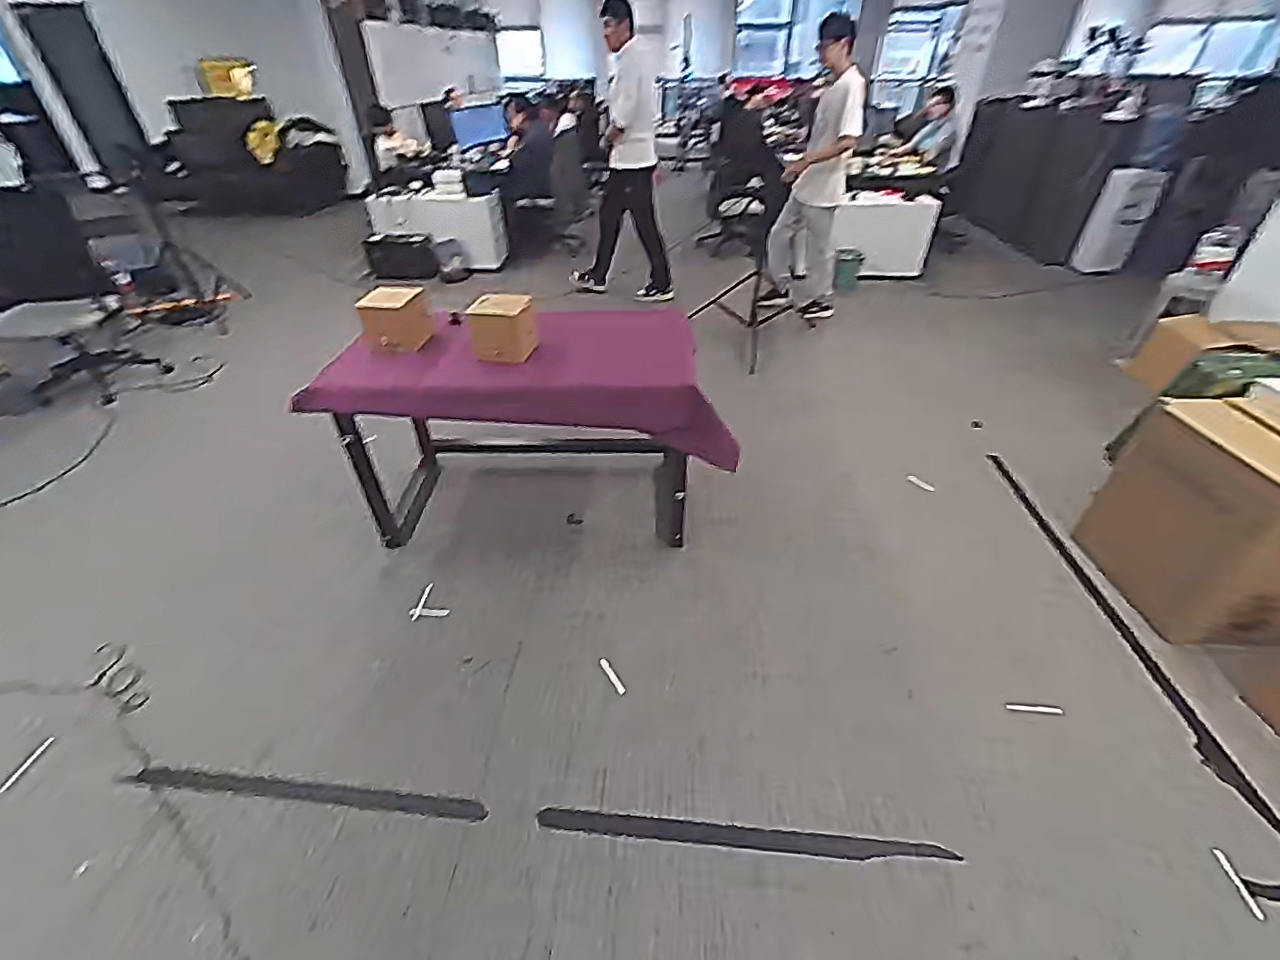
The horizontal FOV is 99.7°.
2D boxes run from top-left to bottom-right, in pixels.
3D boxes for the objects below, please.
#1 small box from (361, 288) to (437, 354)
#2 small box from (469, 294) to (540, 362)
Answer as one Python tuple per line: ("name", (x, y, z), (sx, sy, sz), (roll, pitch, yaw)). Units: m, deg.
("small box", (-0.832, -0.558, 1.891), (0.168, 0.176, 0.179), (3, 39, 6))
("small box", (-0.449, -0.511, 1.828), (0.179, 0.176, 0.168), (6, 39, 8))
